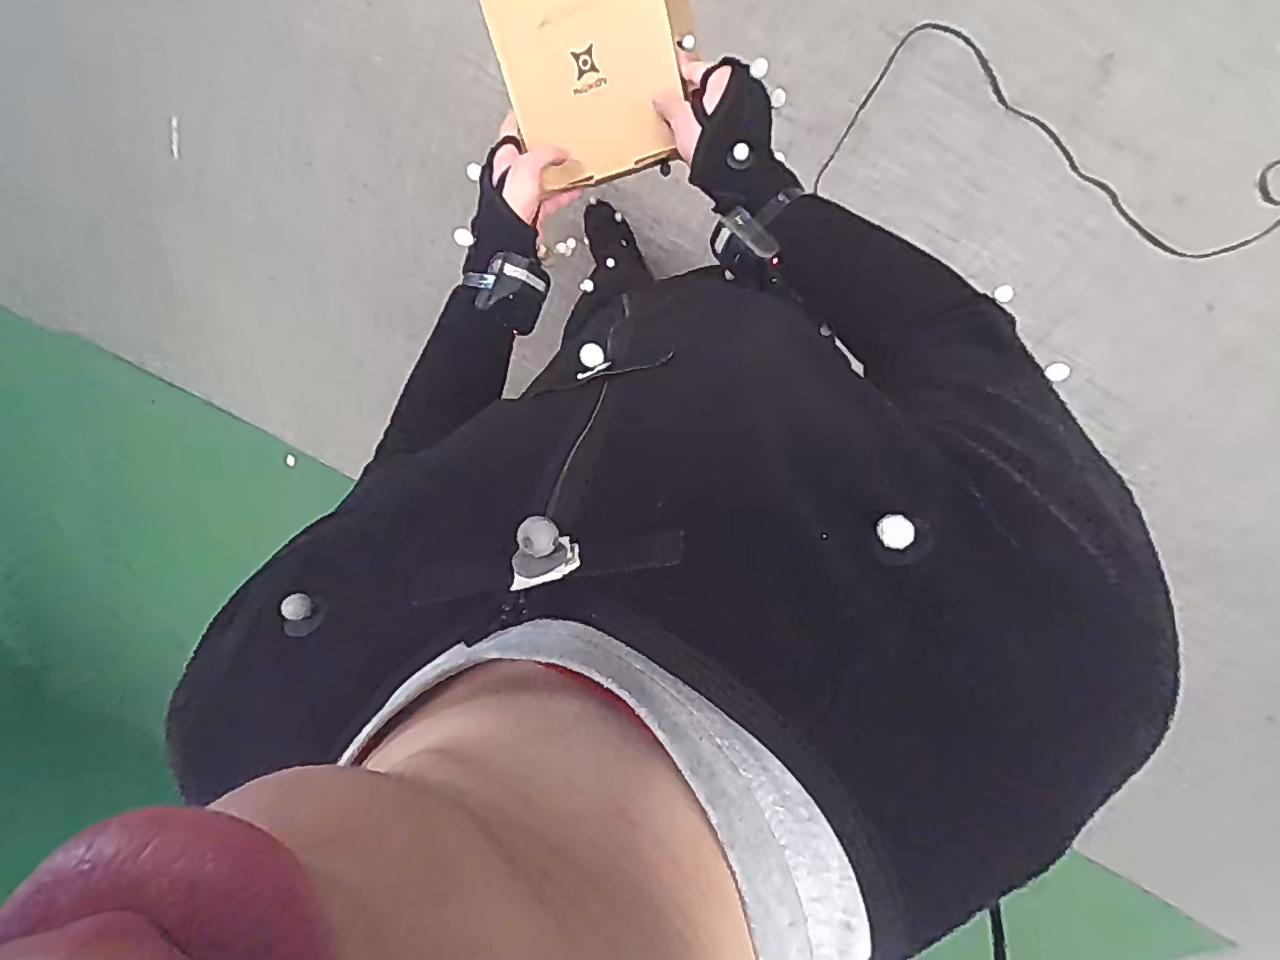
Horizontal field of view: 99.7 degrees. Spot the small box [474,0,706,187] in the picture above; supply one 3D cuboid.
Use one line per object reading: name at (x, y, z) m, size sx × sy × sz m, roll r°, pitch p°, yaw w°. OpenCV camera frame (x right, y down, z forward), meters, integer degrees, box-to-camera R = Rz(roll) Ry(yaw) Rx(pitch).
small box at (-0.036, -0.424, 0.558) m, size 0.168 × 0.176 × 0.179 m, roll -7°, pitch 117°, yaw 21°
